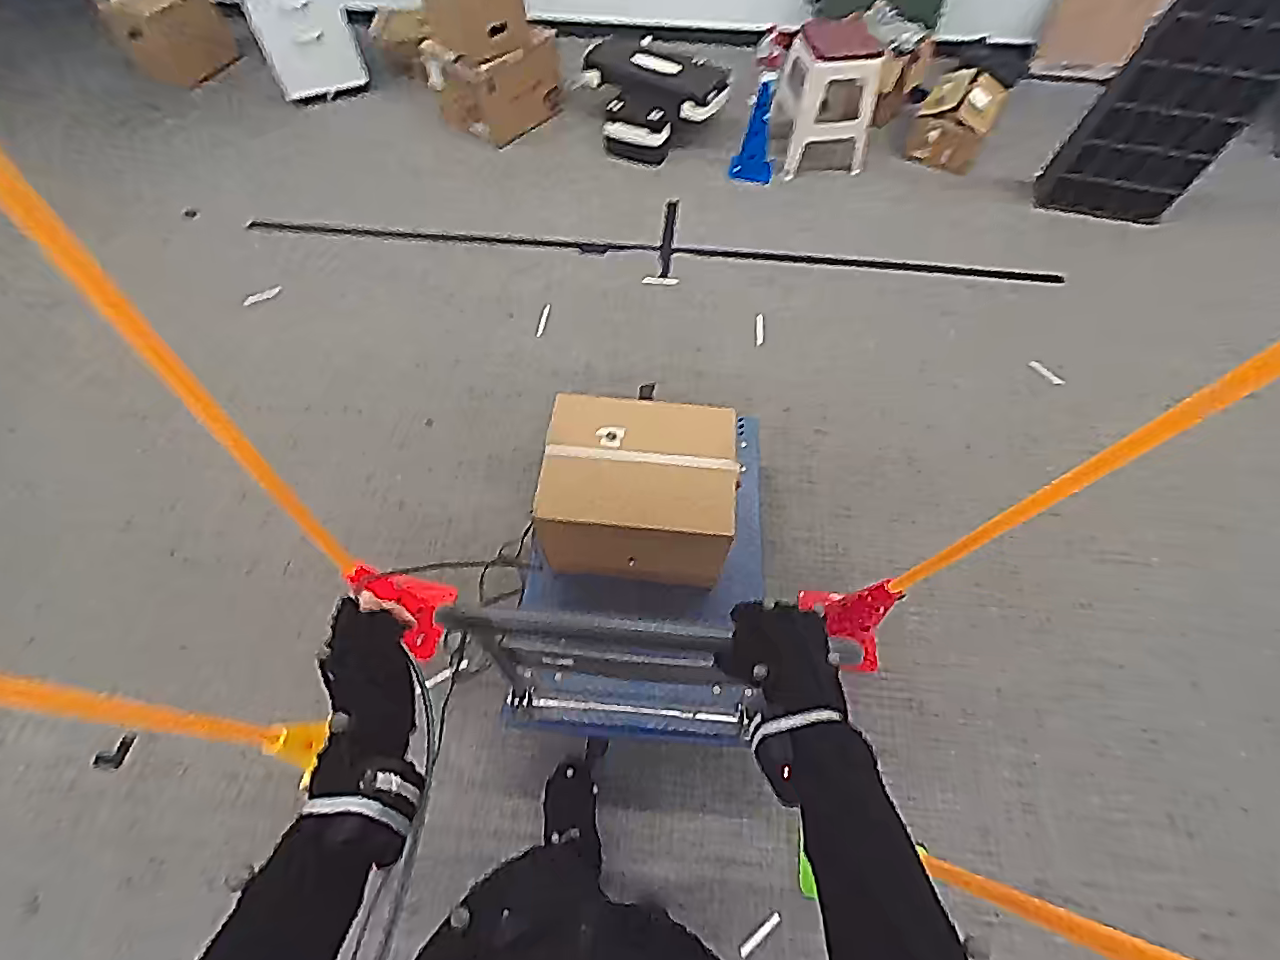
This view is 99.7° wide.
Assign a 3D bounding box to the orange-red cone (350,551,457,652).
[{"bbox_3d":[-0.604,0.255,1.294,0.198,0.360,0.199,13,59,5],"label":"orange-red cone"}]

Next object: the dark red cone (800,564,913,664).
[{"bbox_3d":[0.530,0.290,1.273,0.201,0.394,0.202,7,60,1],"label":"dark red cone"}]

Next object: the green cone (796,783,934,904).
[{"bbox_3d":[0.454,0.712,1.046,0.202,0.368,0.200,10,60,3],"label":"green cone"}]

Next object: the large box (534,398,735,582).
[{"bbox_3d":[0.001,0.034,1.267,0.408,0.320,0.320,6,61,3],"label":"large box"}]
